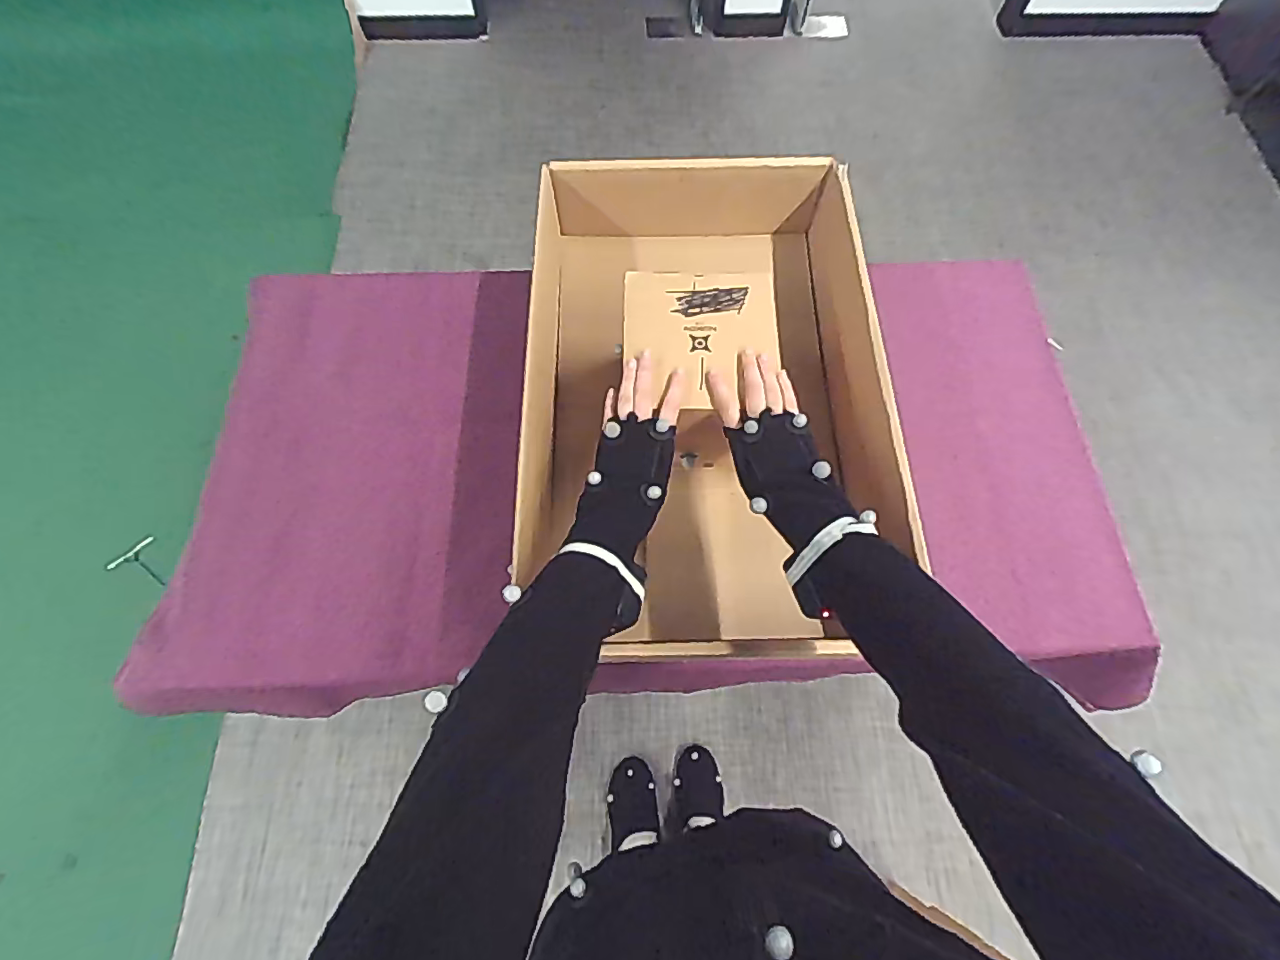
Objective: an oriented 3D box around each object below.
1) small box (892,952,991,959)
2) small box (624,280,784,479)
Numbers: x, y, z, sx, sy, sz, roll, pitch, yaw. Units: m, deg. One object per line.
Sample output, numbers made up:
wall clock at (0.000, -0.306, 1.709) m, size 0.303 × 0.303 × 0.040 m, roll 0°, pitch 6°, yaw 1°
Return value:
small box at (0.486, 0.815, 0.776) m, size 0.168 × 0.176 × 0.179 m, roll 0°, pitch 67°, yaw -1°
small box at (0.065, -0.113, 0.649) m, size 0.168 × 0.176 × 0.179 m, roll 0°, pitch 70°, yaw 0°
